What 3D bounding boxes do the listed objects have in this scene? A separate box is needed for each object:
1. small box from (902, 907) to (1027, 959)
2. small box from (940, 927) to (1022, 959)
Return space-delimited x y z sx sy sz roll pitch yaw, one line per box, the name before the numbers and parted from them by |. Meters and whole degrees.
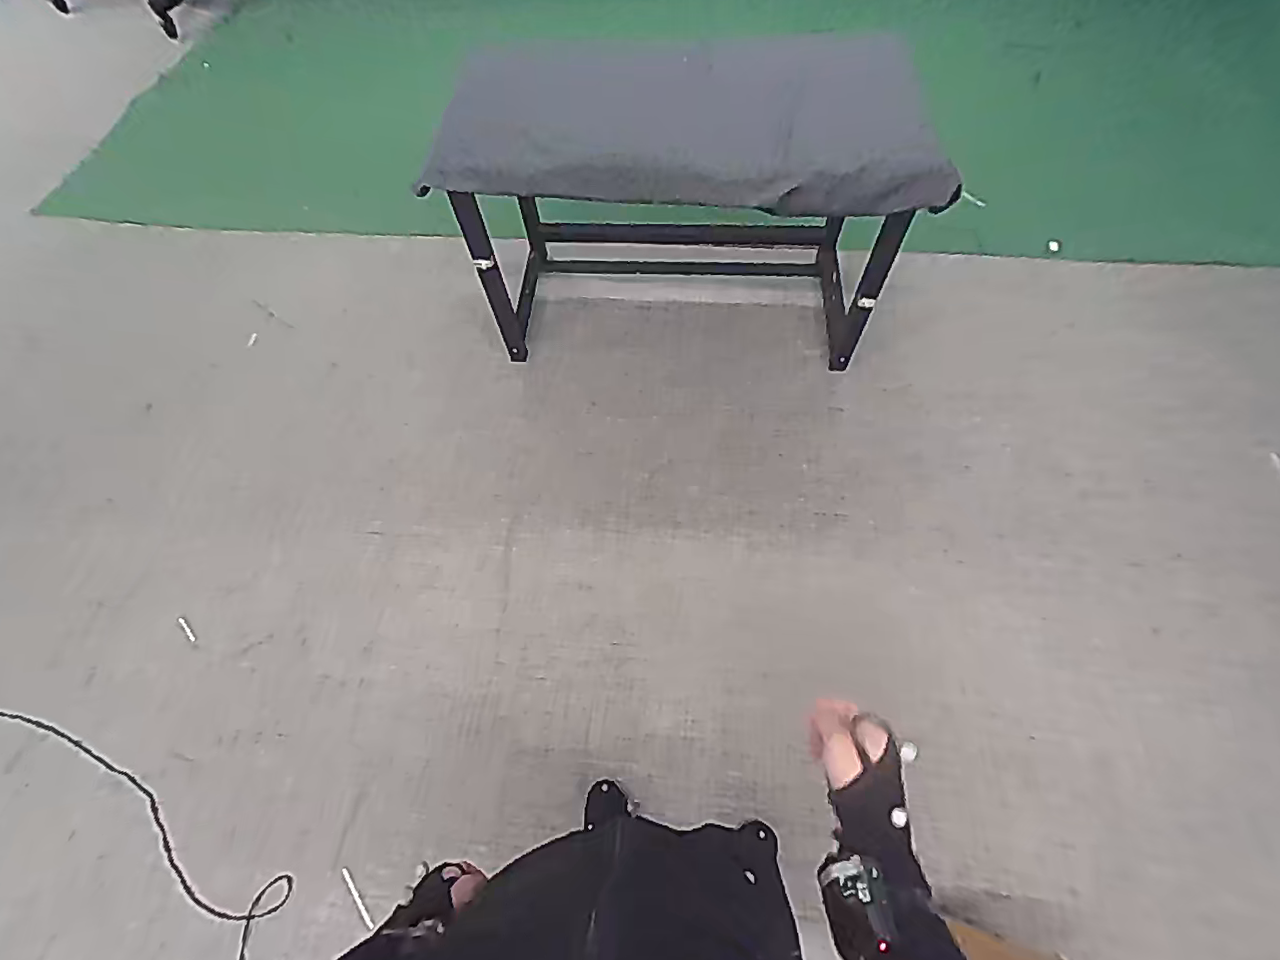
small box | 0.656 1.003 1.095 0.179 0.176 0.168 15 63 10
small box | 0.653 0.927 0.949 0.179 0.176 0.168 16 63 10
